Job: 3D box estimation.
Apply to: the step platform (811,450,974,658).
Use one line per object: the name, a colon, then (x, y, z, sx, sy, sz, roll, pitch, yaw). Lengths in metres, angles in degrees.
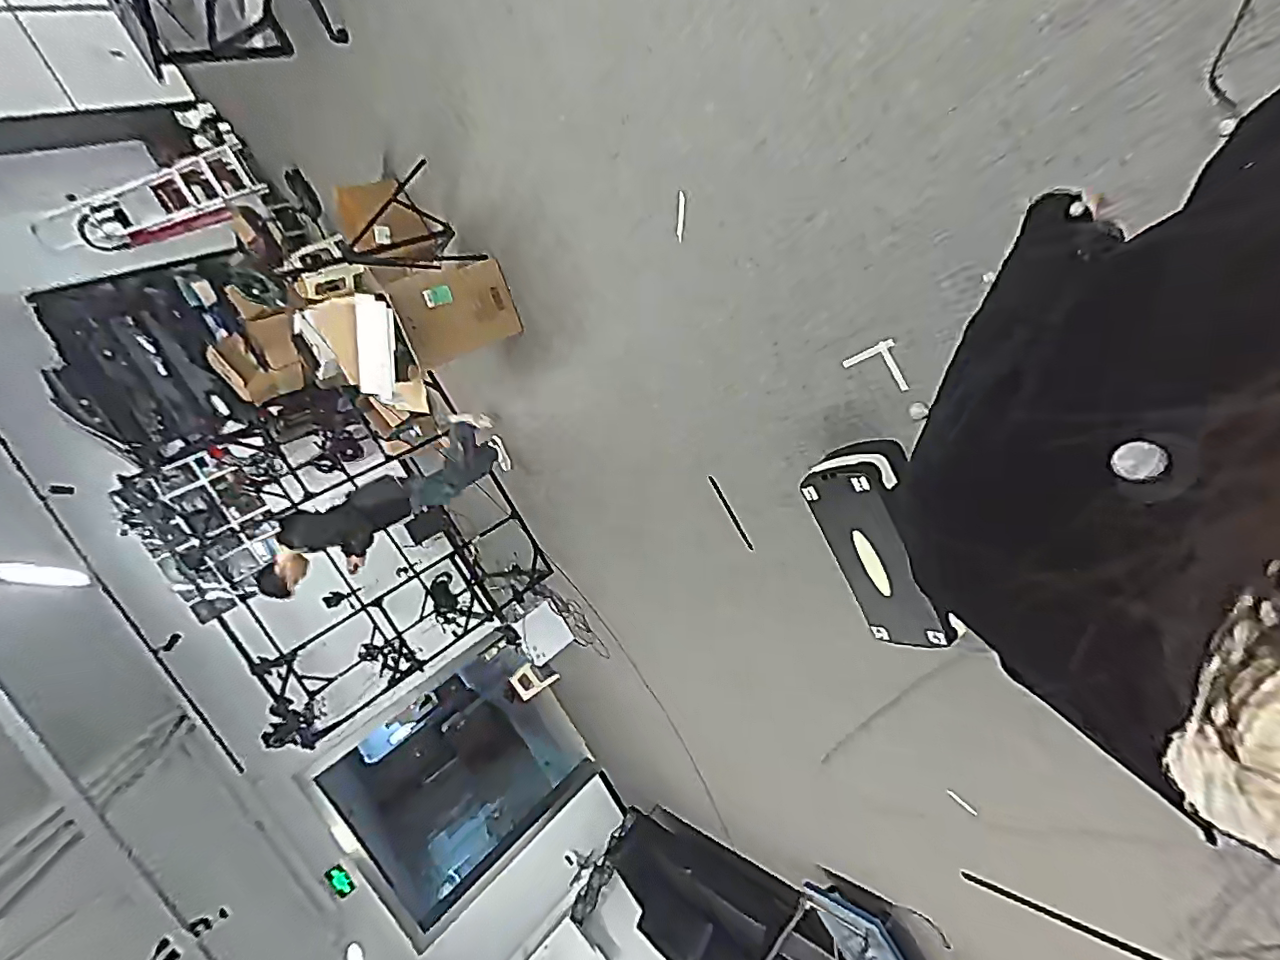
step platform: (0.824, 0.250, 1.769, 0.286, 0.204, 0.684, -8, 113, 55)
